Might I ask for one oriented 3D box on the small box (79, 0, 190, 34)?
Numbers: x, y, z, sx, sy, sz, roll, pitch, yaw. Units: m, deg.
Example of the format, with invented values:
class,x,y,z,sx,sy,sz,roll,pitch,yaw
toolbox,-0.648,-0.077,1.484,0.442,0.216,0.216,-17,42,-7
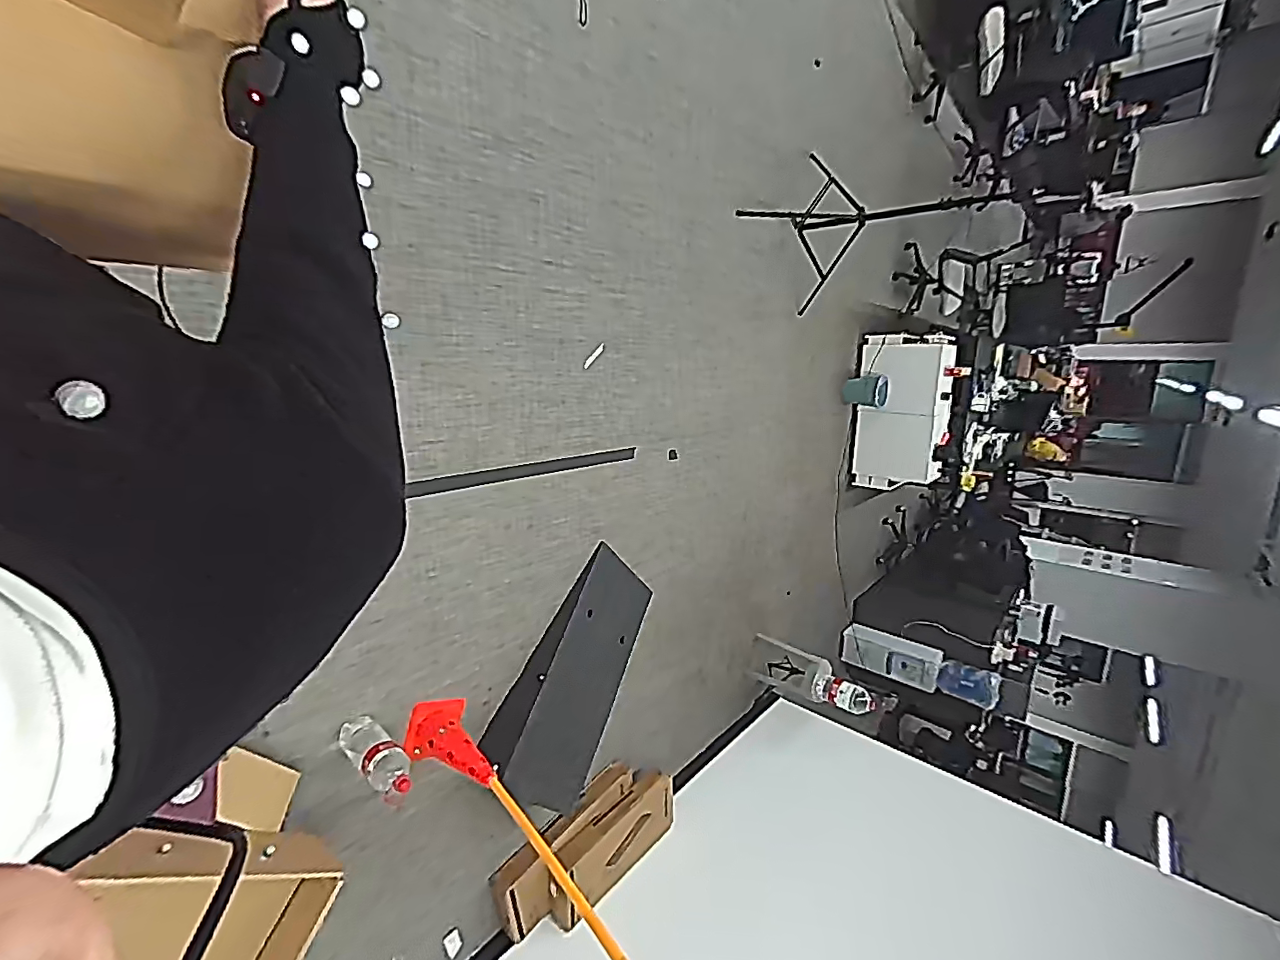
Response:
class,x,y,z,sx,sy,sz,roll,pitch,yaw
small box,-0.395,-0.445,0.350,0.179,0.176,0.168,4,100,-46
